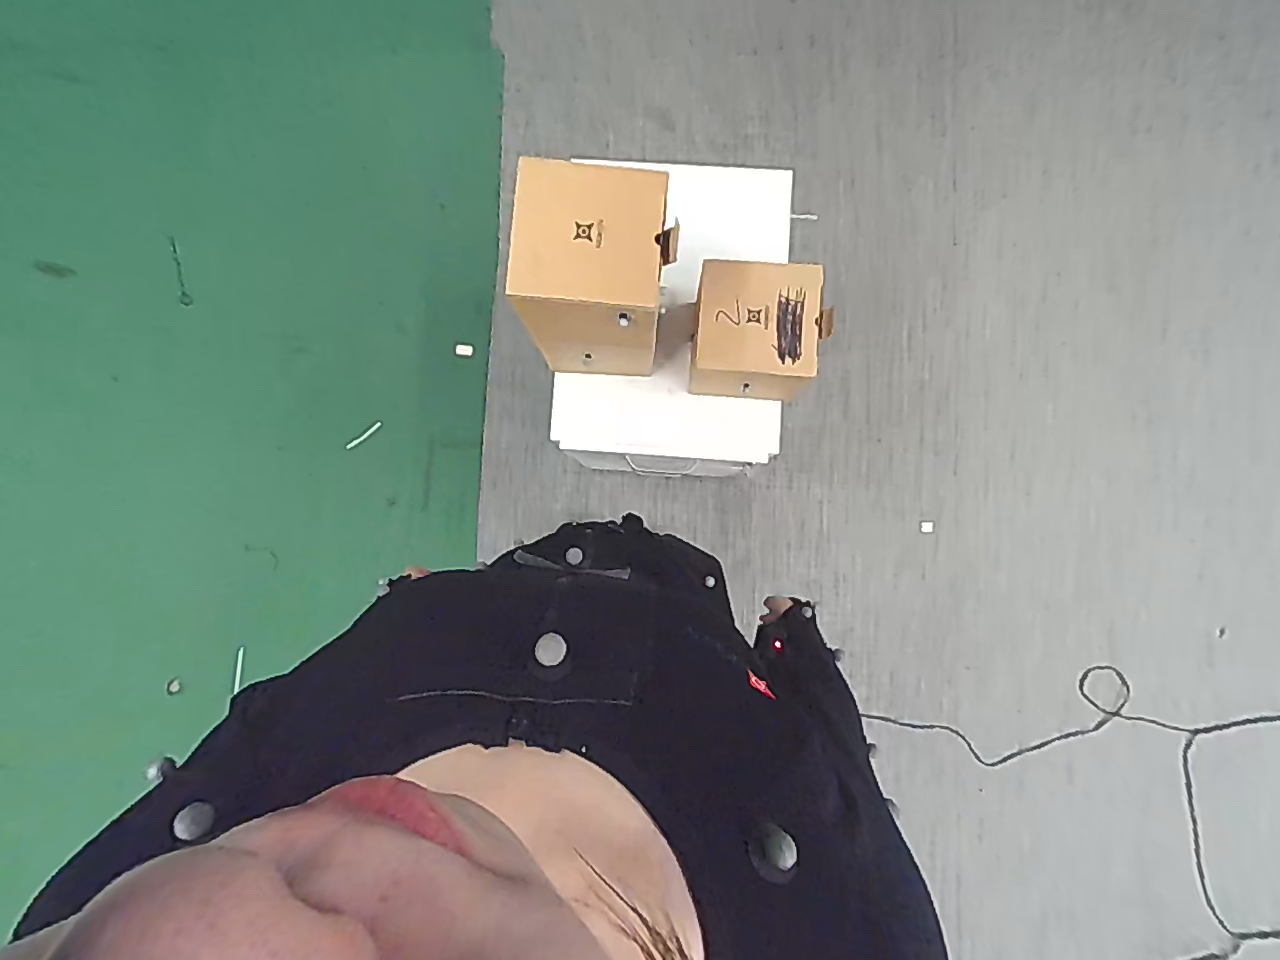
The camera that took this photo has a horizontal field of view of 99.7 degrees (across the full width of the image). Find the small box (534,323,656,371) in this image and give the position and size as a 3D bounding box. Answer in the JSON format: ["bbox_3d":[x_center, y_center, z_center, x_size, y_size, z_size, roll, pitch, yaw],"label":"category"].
[{"bbox_3d":[-0.062,-0.276,0.859,0.179,0.176,0.168,3,86,0],"label":"small box"}]

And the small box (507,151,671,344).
[{"bbox_3d":[-0.060,-0.285,0.696,0.179,0.176,0.168,5,86,-2],"label":"small box"}]
